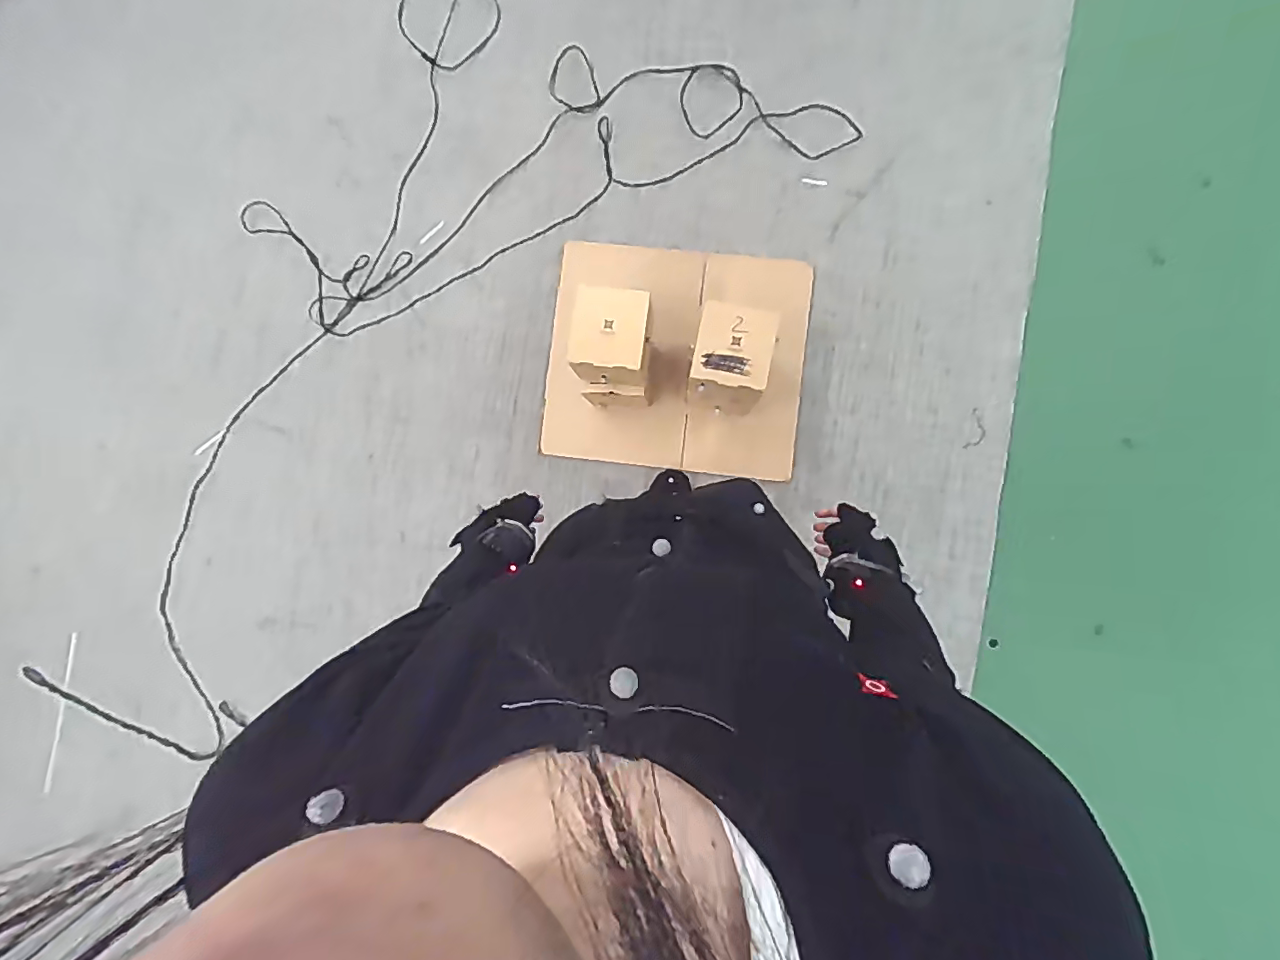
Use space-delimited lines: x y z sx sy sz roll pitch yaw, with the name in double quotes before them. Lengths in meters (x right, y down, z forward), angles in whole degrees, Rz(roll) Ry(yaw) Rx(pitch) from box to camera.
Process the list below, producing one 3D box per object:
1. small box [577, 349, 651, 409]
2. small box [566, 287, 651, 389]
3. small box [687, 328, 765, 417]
"small box" -0.062 -0.287 1.415 0.168 0.176 0.179 4 88 4
"small box" -0.066 -0.322 1.254 0.168 0.176 0.179 7 88 4
"small box" 0.215 -0.271 1.397 0.168 0.176 0.179 11 89 6
